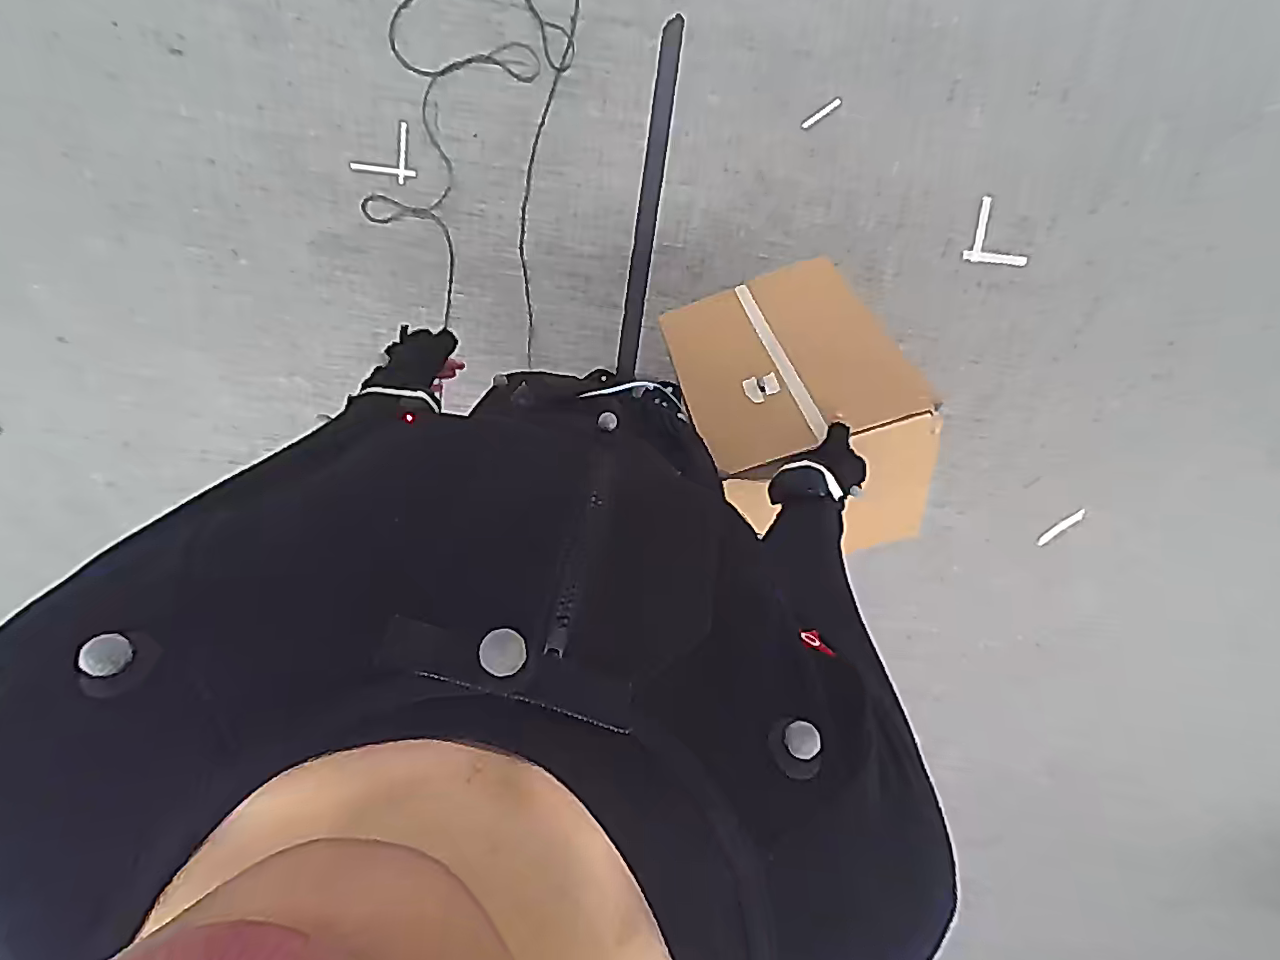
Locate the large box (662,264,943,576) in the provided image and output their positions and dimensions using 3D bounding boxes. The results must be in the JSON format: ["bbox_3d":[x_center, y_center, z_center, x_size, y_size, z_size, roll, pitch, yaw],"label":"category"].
[{"bbox_3d":[0.260,-0.104,0.963,0.320,0.408,0.320,-19,140,7],"label":"large box"}]
